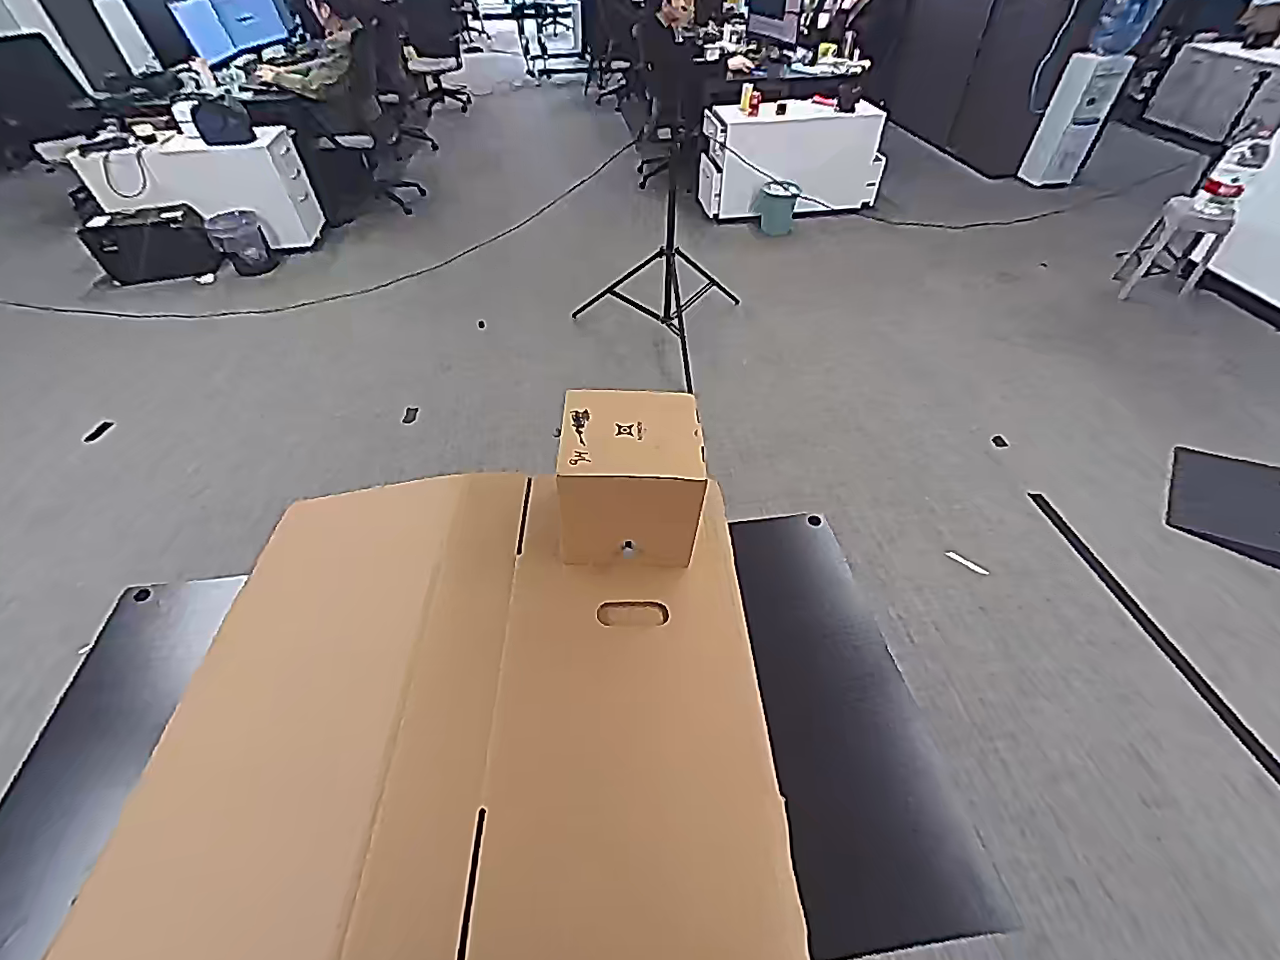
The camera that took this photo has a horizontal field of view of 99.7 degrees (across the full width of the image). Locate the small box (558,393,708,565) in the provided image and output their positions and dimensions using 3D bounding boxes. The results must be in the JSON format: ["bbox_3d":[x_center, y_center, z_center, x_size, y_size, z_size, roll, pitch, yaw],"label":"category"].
[{"bbox_3d":[-0.016,0.002,0.732,0.179,0.176,0.168,2,44,-4],"label":"small box"}]
